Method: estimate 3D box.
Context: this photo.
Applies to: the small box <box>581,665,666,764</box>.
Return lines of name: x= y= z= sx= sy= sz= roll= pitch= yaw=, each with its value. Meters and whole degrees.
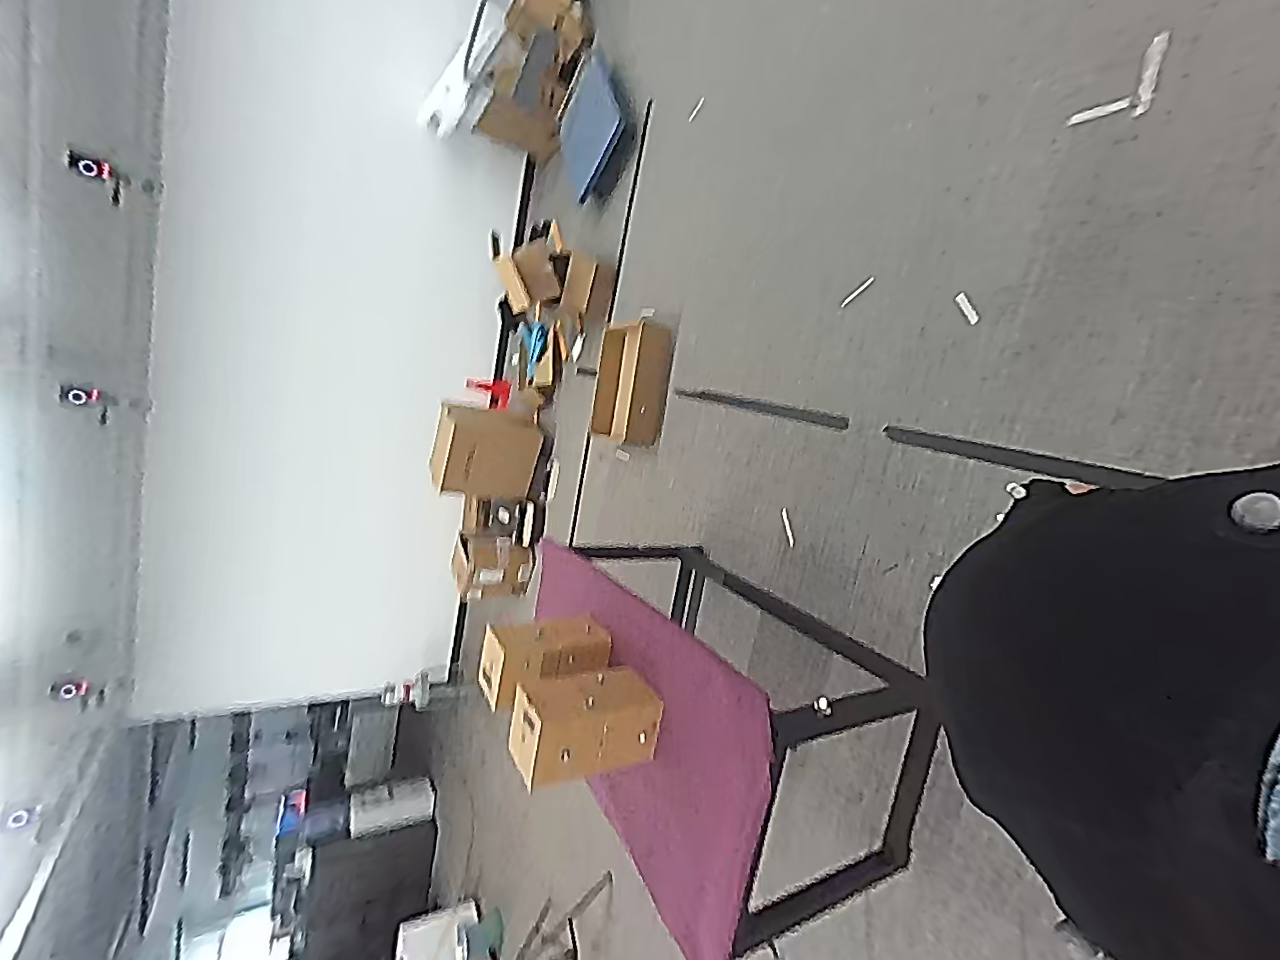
small box: x=-0.057 y=0.601 z=1.412 sx=0.179 sy=0.176 sz=0.168 roll=27 pitch=109 yaw=56

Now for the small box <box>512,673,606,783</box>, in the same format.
small box: x=-0.197 y=0.596 z=1.325 sx=0.168 sy=0.176 sz=0.179 roll=24 pitch=107 yaw=57

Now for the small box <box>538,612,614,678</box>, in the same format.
small box: x=-0.195 y=0.518 z=1.643 sx=0.168 sy=0.176 sz=0.179 roll=27 pitch=109 yaw=56
